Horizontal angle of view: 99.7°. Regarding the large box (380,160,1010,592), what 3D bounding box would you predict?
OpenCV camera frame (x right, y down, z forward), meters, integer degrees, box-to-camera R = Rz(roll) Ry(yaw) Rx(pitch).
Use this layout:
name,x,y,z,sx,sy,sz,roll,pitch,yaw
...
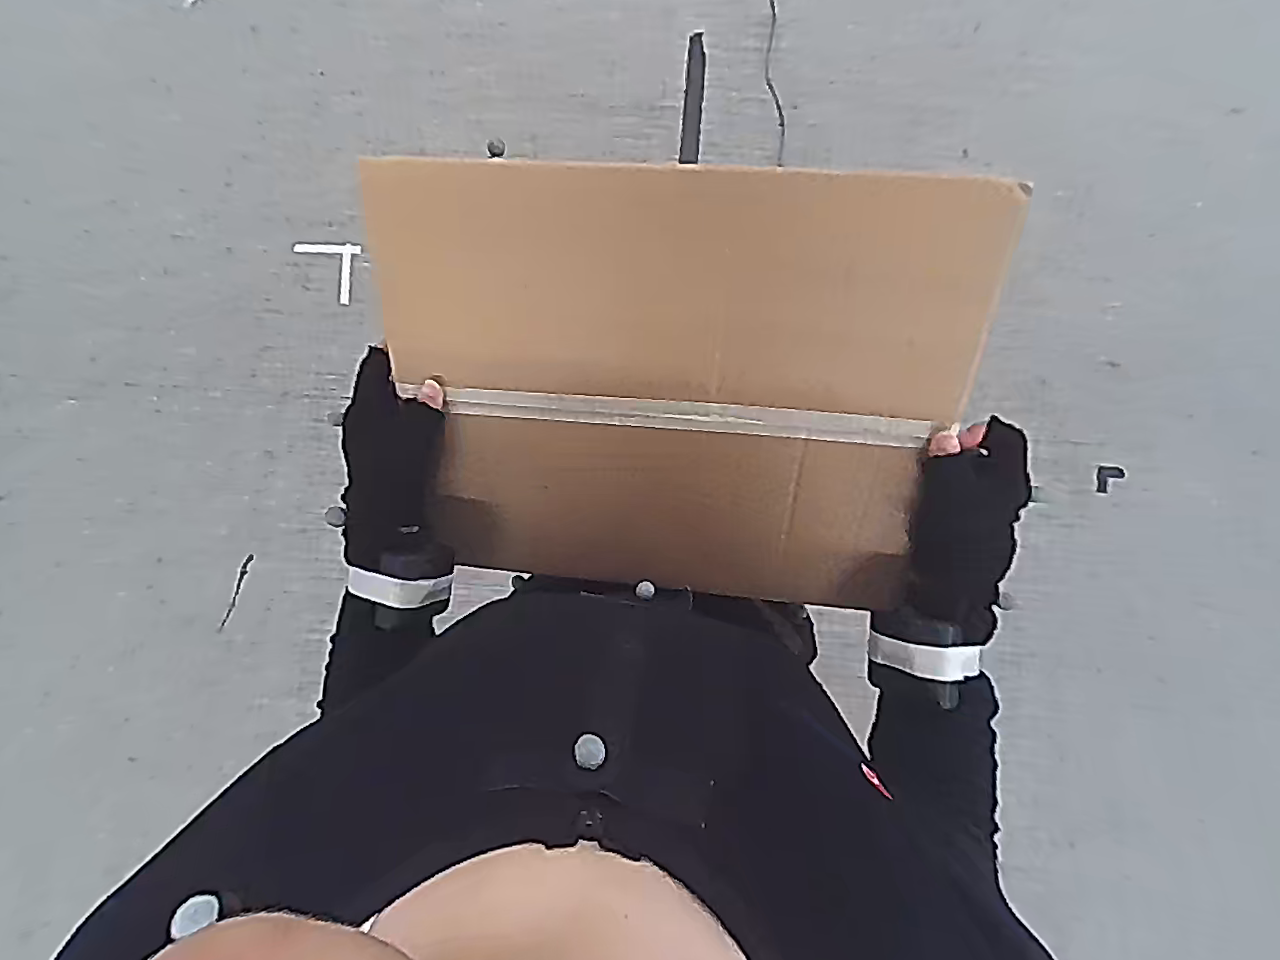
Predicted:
name,x,y,z,sx,sy,sz,roll,pitch,yaw
large box,0.036,-0.122,0.535,0.408,0.320,0.320,5,118,6
